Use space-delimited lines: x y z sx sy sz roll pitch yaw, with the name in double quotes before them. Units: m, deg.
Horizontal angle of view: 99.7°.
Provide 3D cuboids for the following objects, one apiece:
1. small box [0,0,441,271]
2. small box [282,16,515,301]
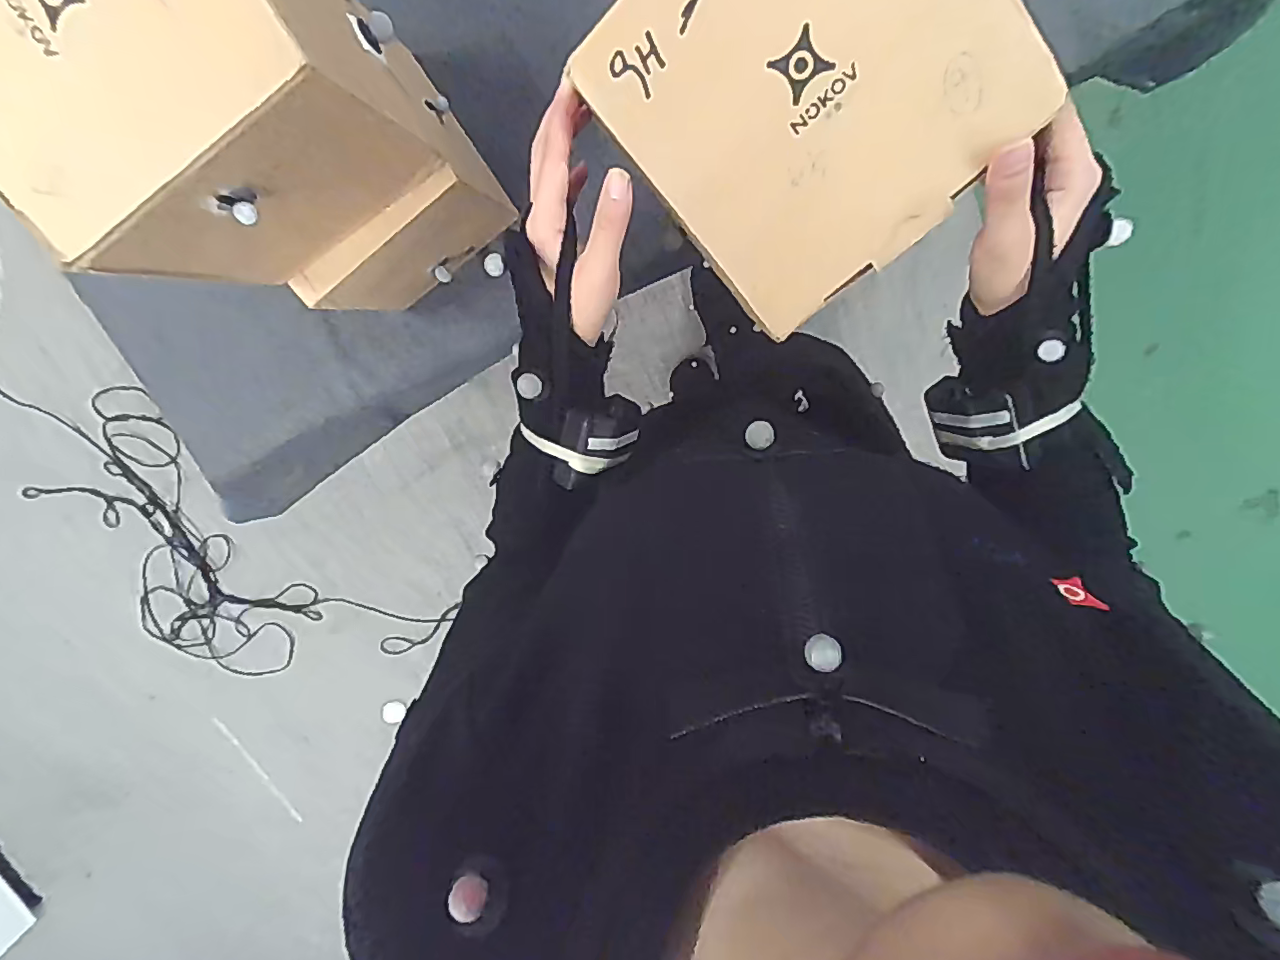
"small box" -0.255 -0.241 0.317 0.179 0.176 0.168 -29 105 11
"small box" -0.241 -0.275 0.476 0.168 0.176 0.179 -33 103 13
